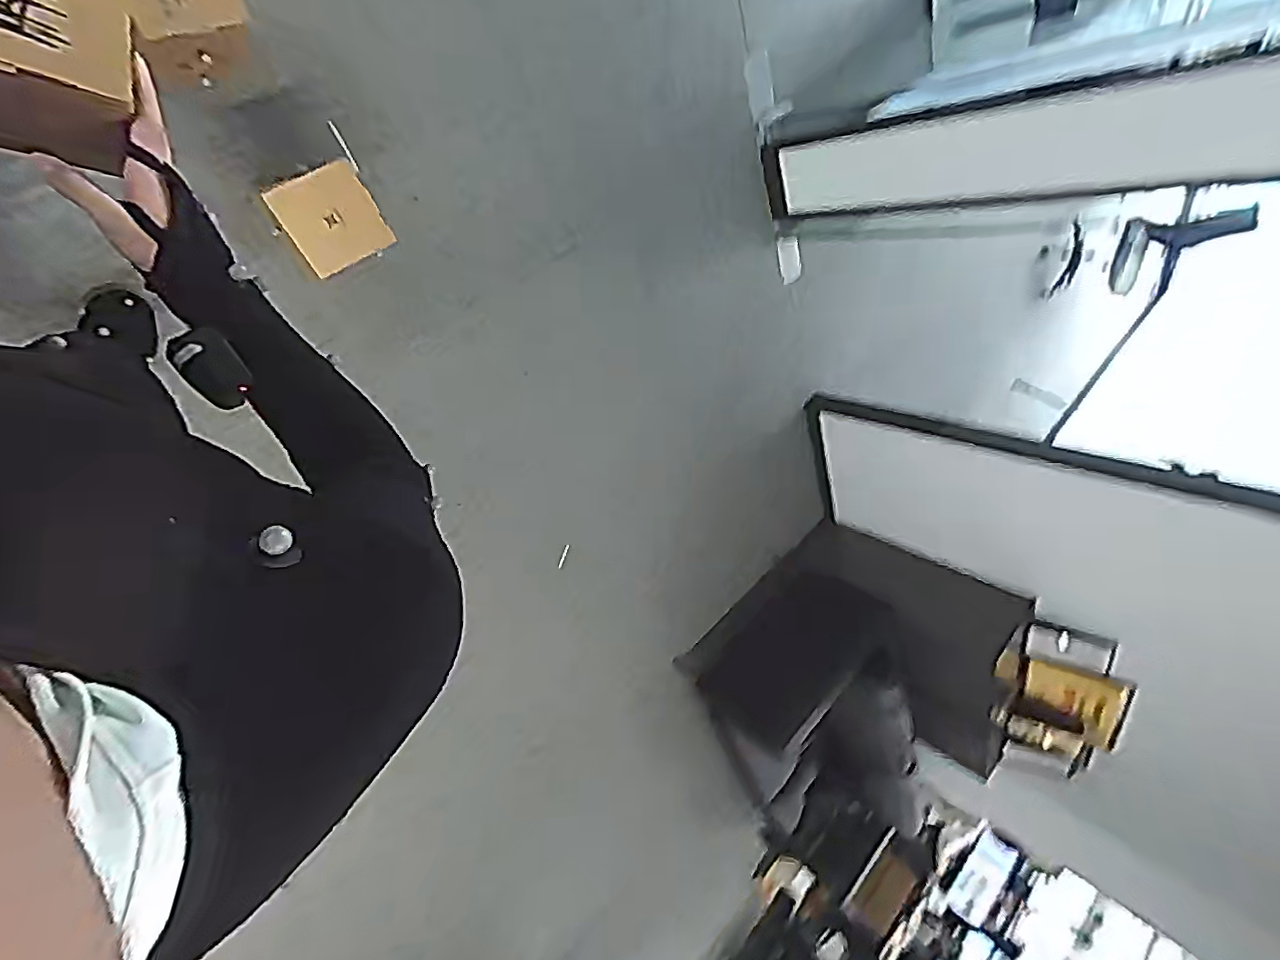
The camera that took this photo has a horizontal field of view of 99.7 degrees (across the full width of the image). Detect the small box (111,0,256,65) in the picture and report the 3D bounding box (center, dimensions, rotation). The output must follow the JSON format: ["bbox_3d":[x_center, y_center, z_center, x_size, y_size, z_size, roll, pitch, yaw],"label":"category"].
[{"bbox_3d":[-0.775,-0.817,0.882,0.168,0.176,0.179,-35,128,-25],"label":"small box"}]

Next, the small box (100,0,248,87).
[{"bbox_3d":[-0.874,-0.859,1.007,0.168,0.176,0.179,-36,128,-24],"label":"small box"}]

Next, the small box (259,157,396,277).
[{"bbox_3d":[-0.645,-0.532,1.111,0.179,0.176,0.168,-41,129,-21],"label":"small box"}]
